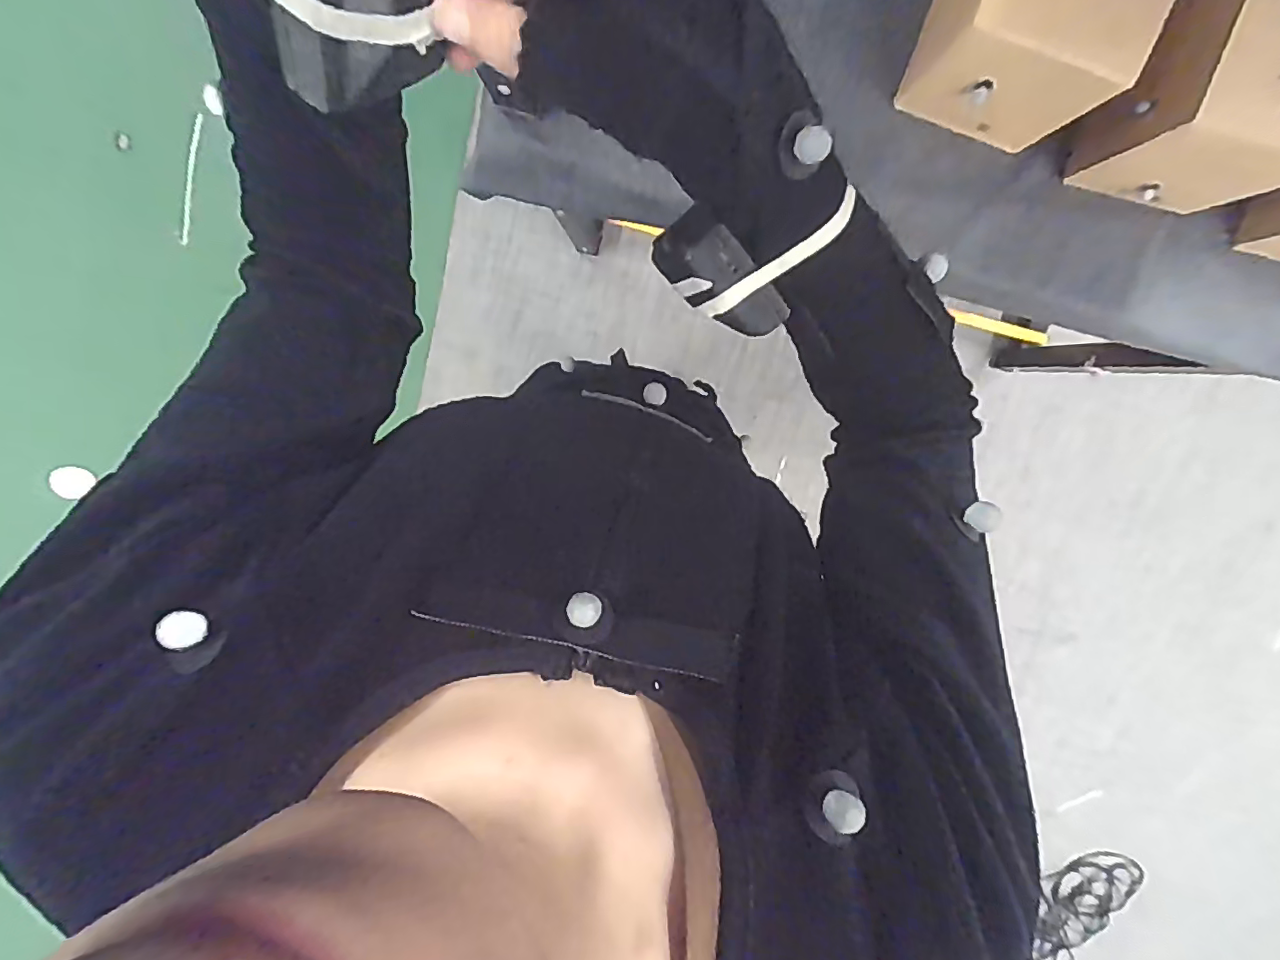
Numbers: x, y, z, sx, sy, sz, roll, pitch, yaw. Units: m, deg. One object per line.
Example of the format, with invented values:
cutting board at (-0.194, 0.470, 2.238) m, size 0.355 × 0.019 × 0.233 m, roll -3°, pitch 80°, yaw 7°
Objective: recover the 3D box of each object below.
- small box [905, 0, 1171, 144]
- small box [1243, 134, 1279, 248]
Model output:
small box at (0.408, -0.488, 0.559) m, size 0.168 × 0.176 × 0.179 m, roll 18°, pitch 101°, yaw -3°
small box at (0.831, -0.343, 0.579) m, size 0.168 × 0.176 × 0.179 m, roll 13°, pitch 101°, yaw -2°
